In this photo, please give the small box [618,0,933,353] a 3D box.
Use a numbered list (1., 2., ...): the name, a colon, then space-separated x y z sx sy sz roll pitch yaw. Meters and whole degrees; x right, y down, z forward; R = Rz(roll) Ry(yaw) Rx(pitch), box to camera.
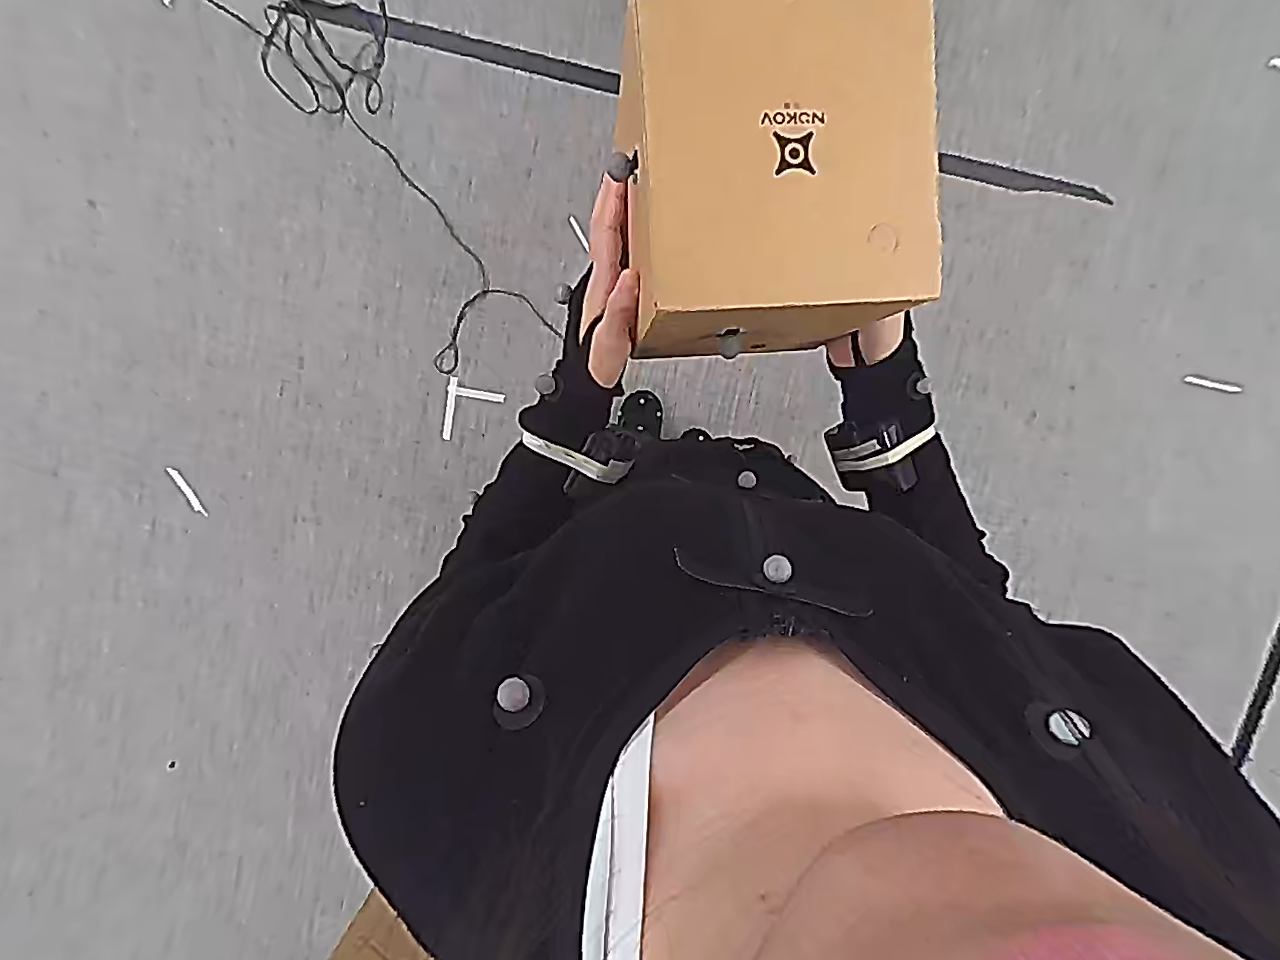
1. small box: 0.075 -0.189 0.379 0.168 0.176 0.179 -5 93 -6
